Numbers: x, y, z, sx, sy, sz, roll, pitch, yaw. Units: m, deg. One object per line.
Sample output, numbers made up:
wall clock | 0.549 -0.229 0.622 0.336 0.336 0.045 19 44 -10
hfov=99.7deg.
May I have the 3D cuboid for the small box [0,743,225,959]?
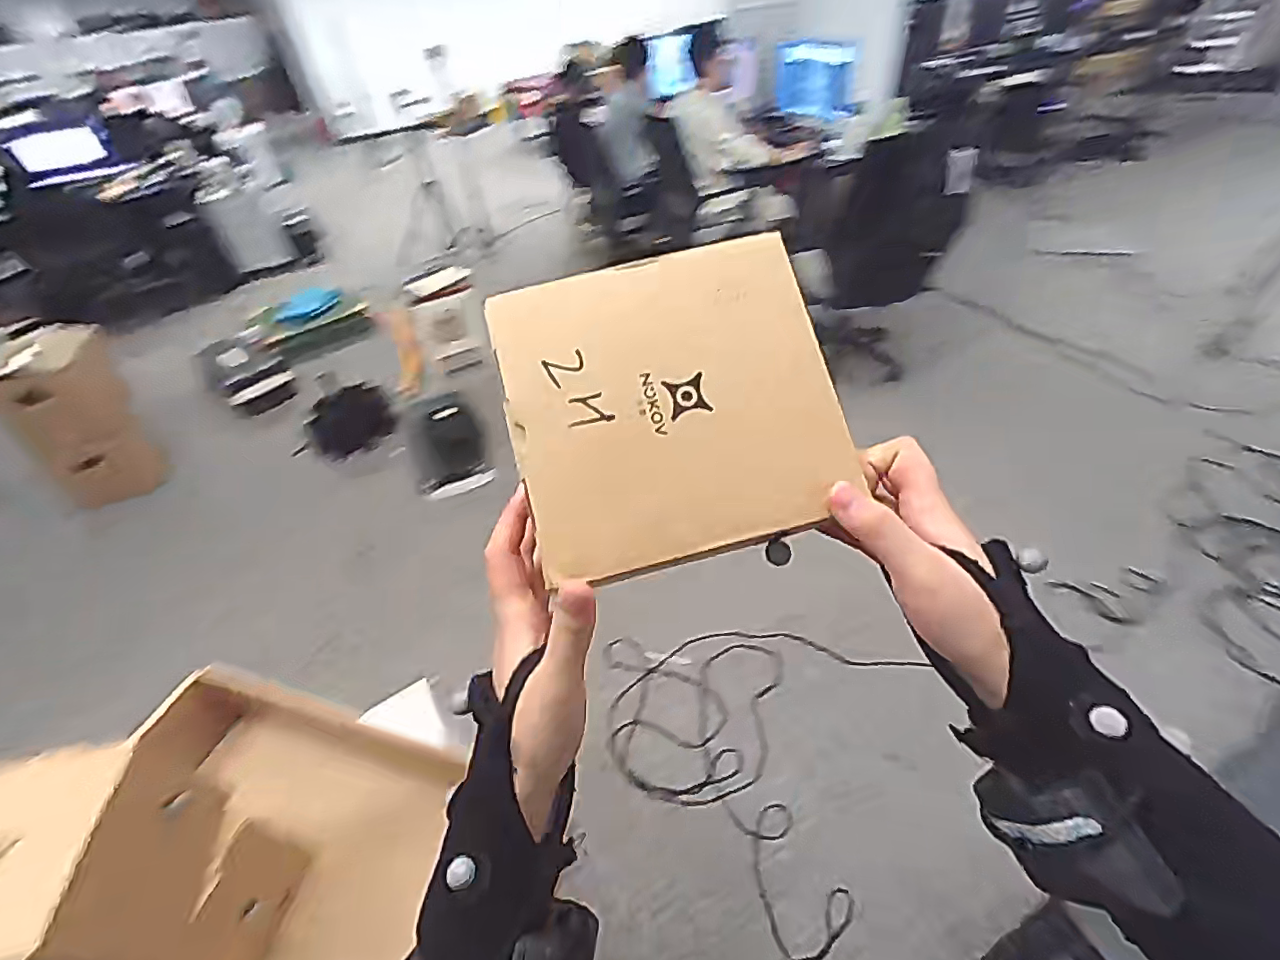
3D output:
small box | -0.574 0.403 0.550 0.168 0.176 0.179 -12 45 -4
